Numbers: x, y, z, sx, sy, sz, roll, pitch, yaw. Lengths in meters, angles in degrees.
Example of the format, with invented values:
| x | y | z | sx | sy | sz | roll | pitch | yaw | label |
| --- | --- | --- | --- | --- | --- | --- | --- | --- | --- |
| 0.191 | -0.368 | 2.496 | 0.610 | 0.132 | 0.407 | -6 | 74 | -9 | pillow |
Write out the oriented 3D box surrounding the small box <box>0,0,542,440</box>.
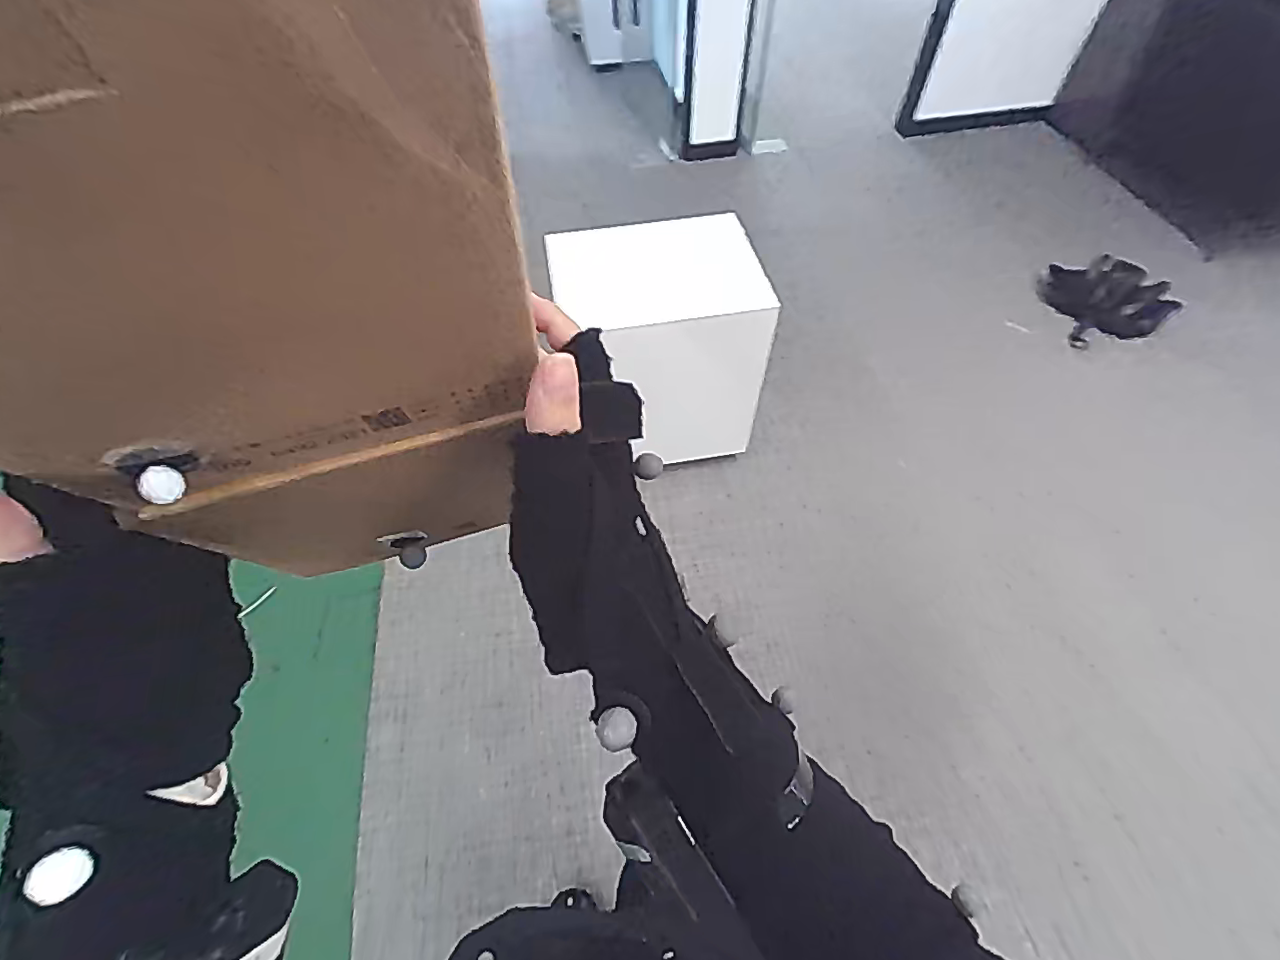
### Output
| x | y | z | sx | sy | sz | roll | pitch | yaw | label |
| --- | --- | --- | --- | --- | --- | --- | --- | --- | --- |
| -0.136 | -0.127 | 0.184 | 0.168 | 0.176 | 0.179 | -15 | 73 | -10 | small box |

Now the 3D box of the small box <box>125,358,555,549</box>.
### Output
| x | y | z | sx | sy | sz | roll | pitch | yaw | label |
| --- | --- | --- | --- | --- | --- | --- | --- | --- | --- |
| -0.152 | -0.075 | 0.321 | 0.168 | 0.176 | 0.179 | -15 | 74 | -11 | small box |
